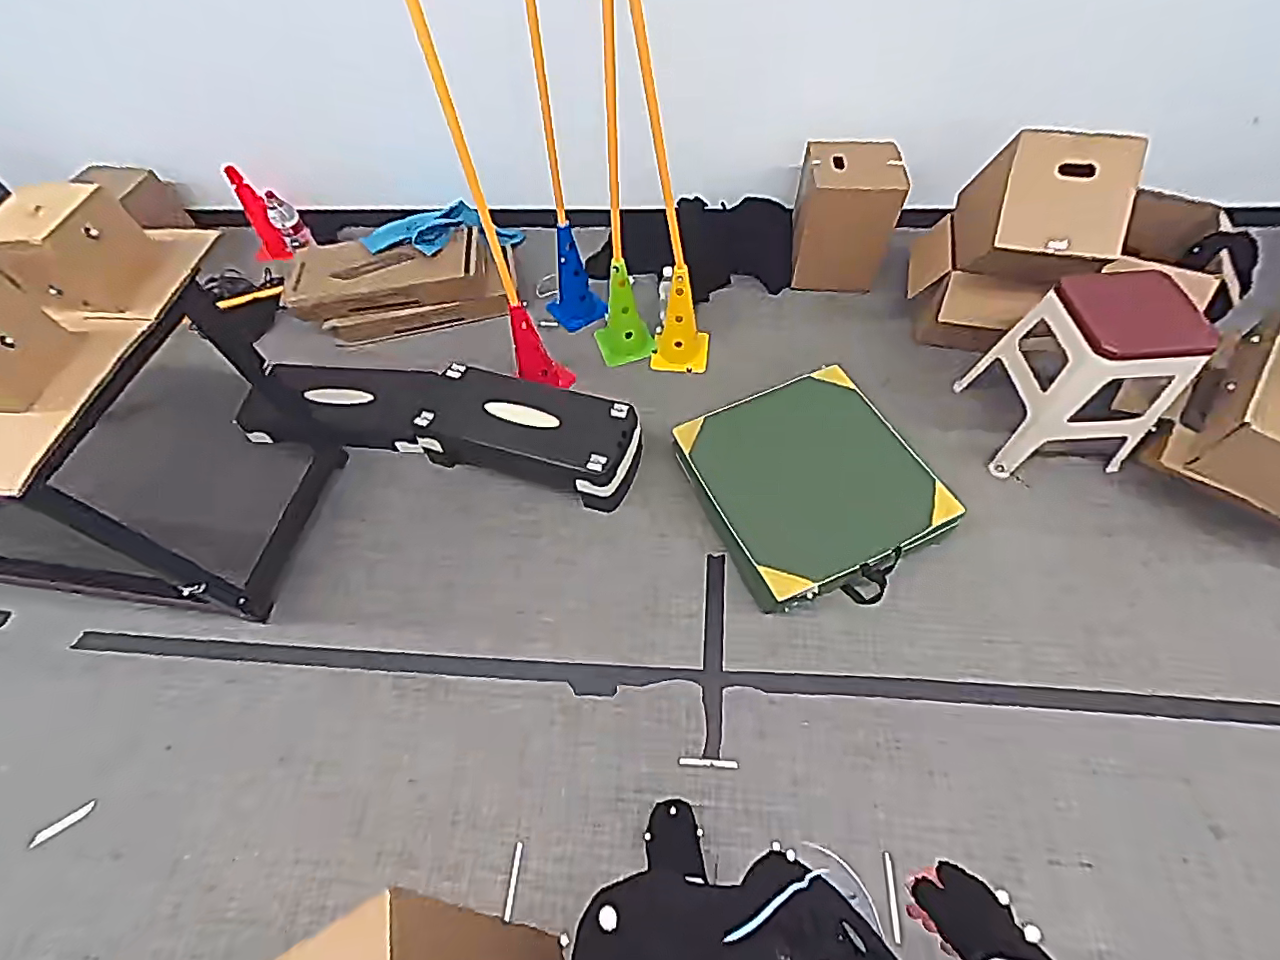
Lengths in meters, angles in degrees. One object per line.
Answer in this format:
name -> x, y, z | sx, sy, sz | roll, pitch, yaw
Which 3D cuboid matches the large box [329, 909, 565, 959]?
large box -> -0.273, 0.782, 0.625 | 0.320, 0.408, 0.320 | -31, 39, -2
